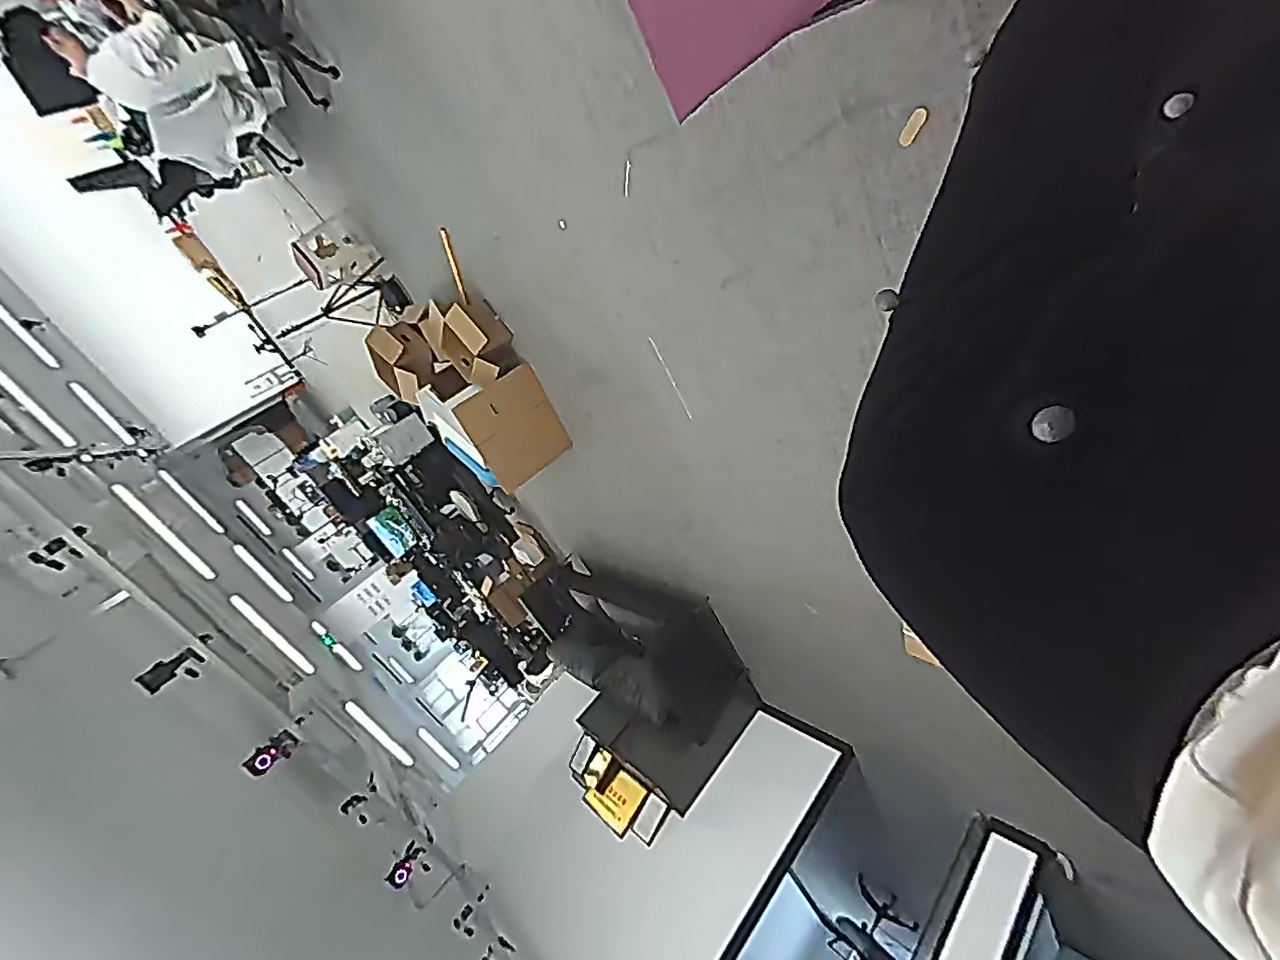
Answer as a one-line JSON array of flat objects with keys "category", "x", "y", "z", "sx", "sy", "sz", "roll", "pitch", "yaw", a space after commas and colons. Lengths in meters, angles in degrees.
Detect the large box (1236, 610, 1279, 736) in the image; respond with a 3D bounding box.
[{"category": "large box", "x": 1.804, "y": 0.499, "z": 1.289, "sx": 0.320, "sy": 0.320, "sz": 0.408, "roll": 43, "pitch": 152, "yaw": 5}]
